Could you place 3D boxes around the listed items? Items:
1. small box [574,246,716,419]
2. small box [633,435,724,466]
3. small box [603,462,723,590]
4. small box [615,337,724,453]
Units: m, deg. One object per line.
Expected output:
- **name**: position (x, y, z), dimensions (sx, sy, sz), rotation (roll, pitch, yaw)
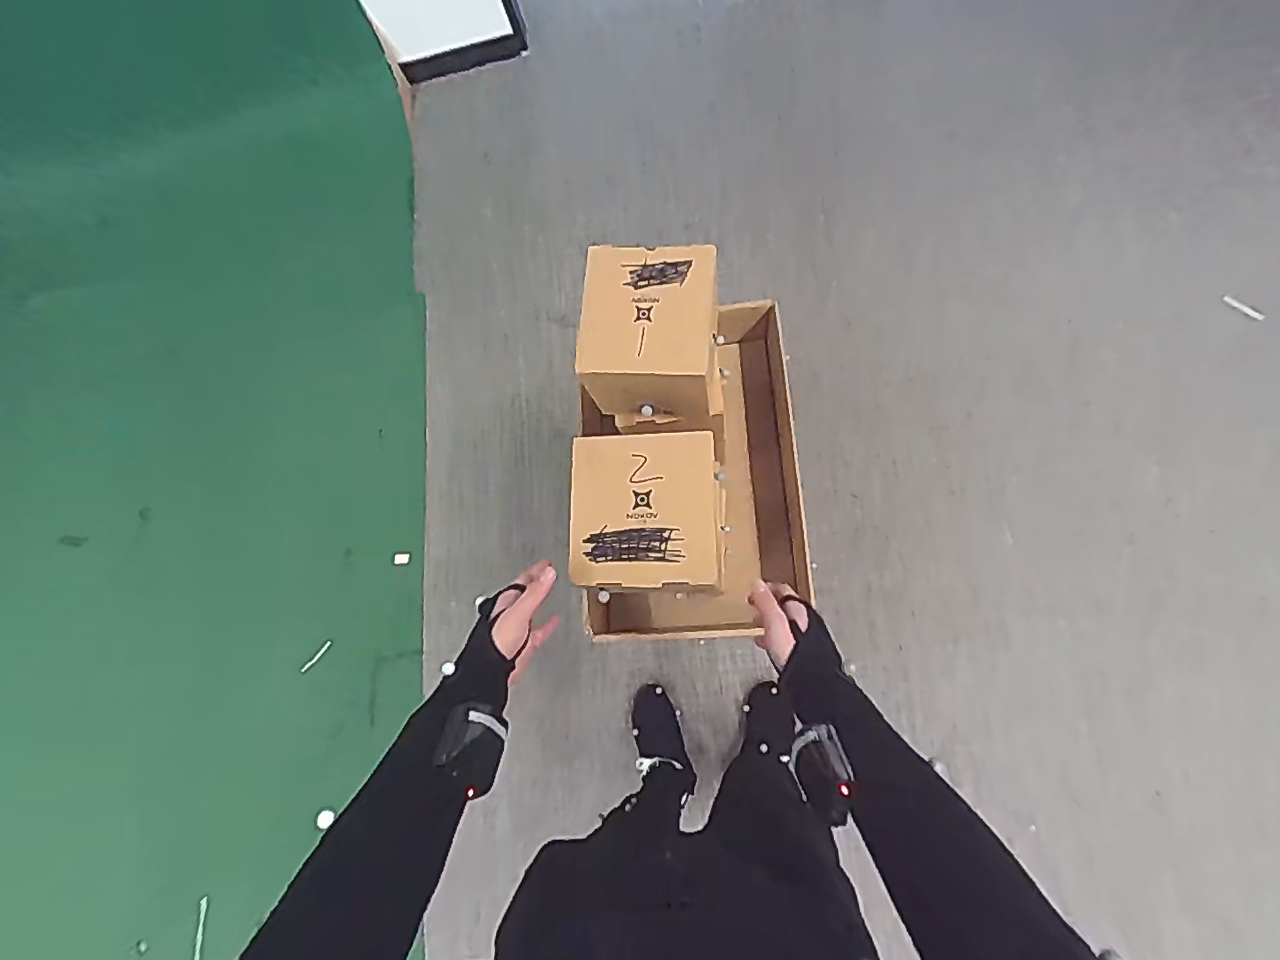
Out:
- **small box**: position (0.017, -0.197, 0.751), dimensions (0.168, 0.176, 0.179), rotation (3, 79, 10)
- **small box**: position (0.076, -0.124, 1.063), dimensions (0.168, 0.176, 0.179), rotation (-6, 77, 9)
- **small box**: position (0.044, 0.078, 0.845), dimensions (0.168, 0.176, 0.179), rotation (0, 75, 9)
- **small box**: position (0.049, -0.157, 0.907), dimensions (0.168, 0.176, 0.179), rotation (-6, 77, 8)
